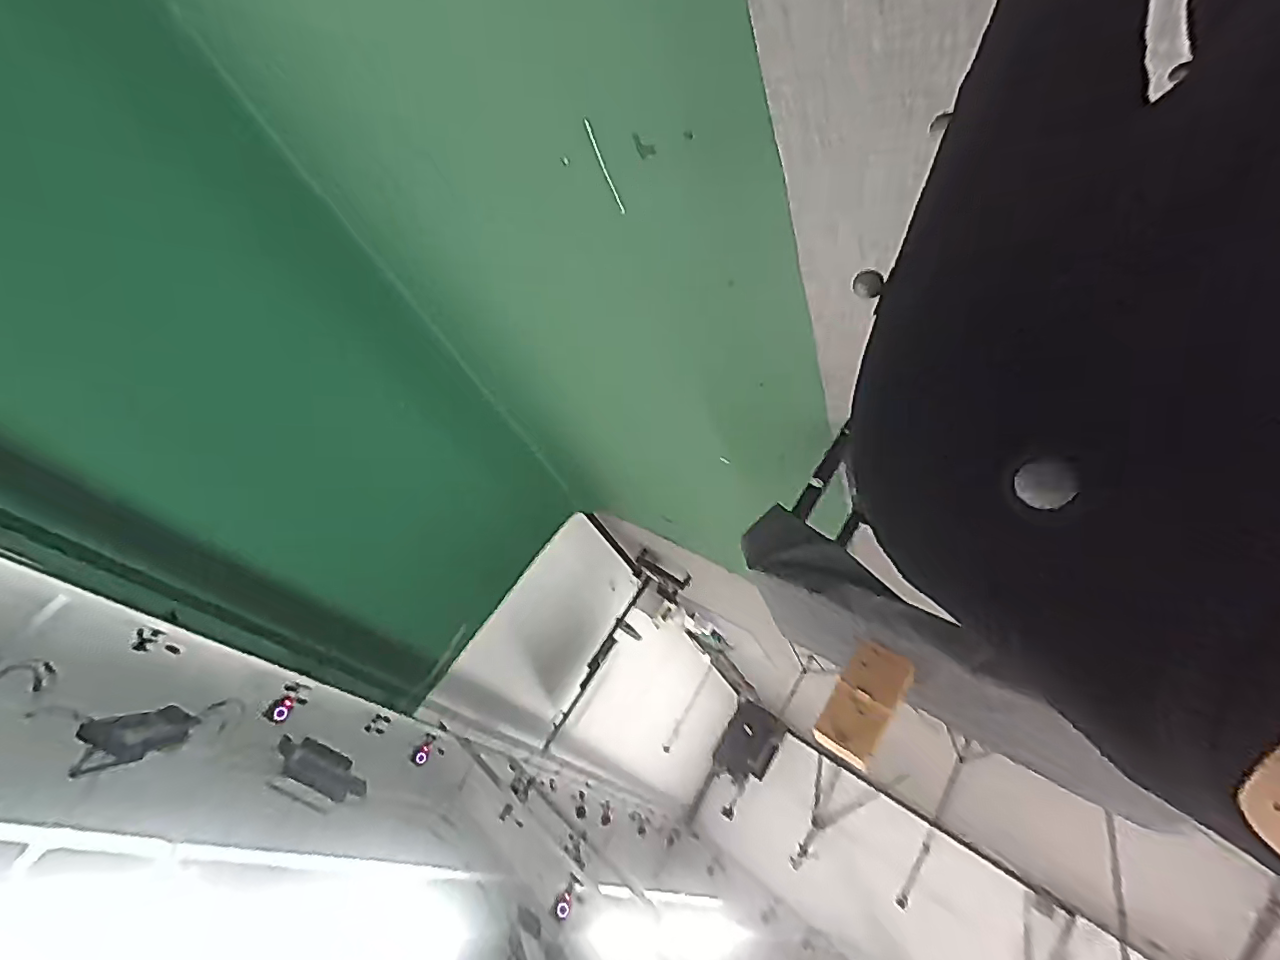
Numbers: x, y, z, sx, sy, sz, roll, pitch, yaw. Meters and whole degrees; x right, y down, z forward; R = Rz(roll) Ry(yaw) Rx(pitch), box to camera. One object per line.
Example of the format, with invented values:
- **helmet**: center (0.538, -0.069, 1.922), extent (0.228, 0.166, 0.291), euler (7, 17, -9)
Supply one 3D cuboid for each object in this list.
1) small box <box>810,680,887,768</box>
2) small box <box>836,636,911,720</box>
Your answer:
- **small box**: center (0.651, 0.753, 1.678), extent (0.168, 0.176, 0.179), euler (25, 158, 35)
- **small box**: center (0.742, 0.622, 1.713), extent (0.168, 0.176, 0.179), euler (25, 159, 36)
